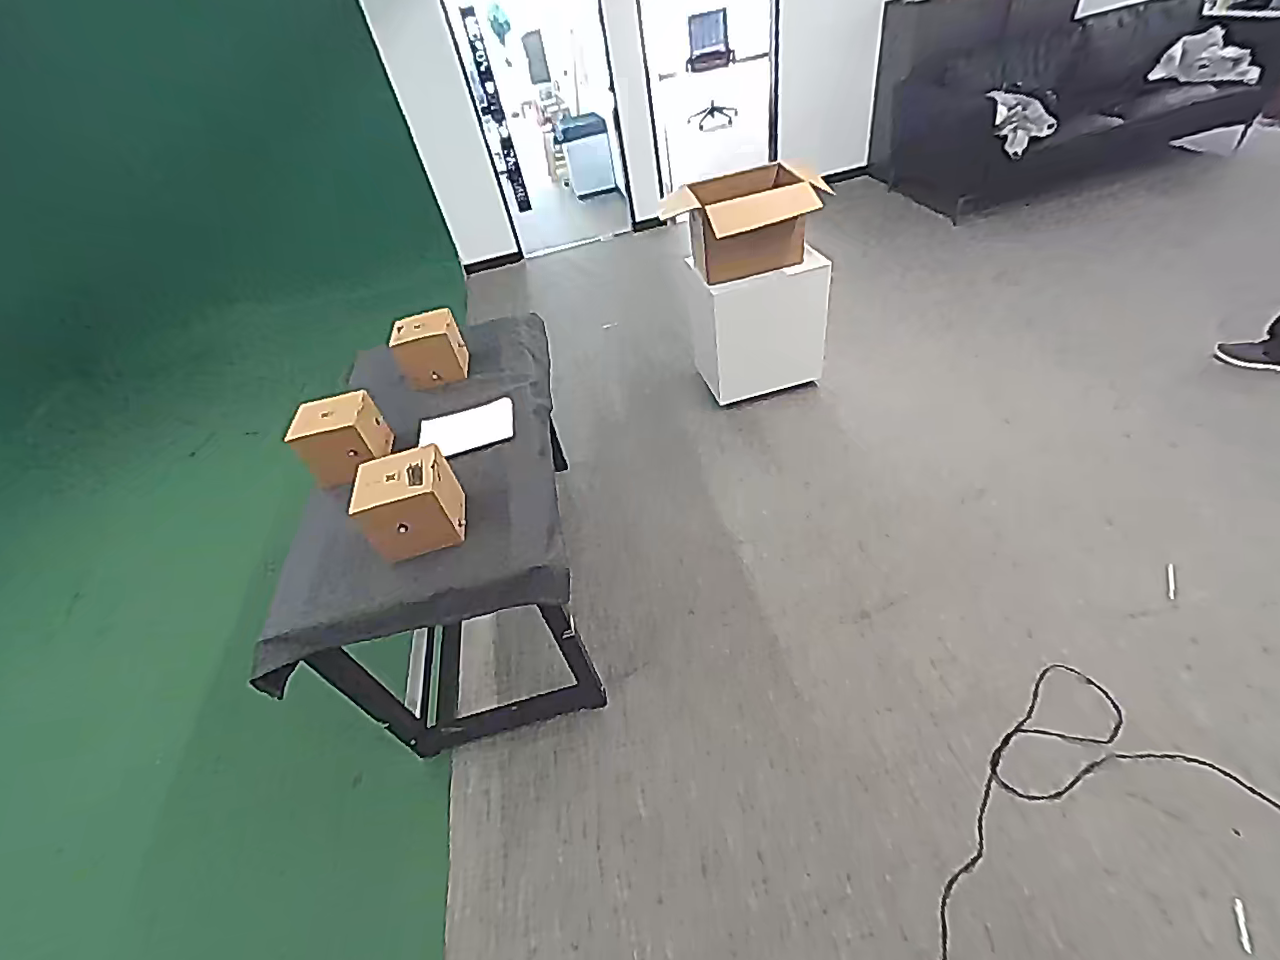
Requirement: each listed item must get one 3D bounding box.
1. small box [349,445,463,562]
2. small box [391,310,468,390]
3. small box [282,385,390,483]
[{"bbox_3d":[-0.505,0.054,1.197,0.179,0.176,0.168,-16,43,-4],"label":"small box"},{"bbox_3d":[-0.657,-0.409,1.711,0.179,0.176,0.168,-13,43,-3],"label":"small box"},{"bbox_3d":[-0.783,-0.118,1.416,0.179,0.176,0.168,-15,42,-3],"label":"small box"}]
